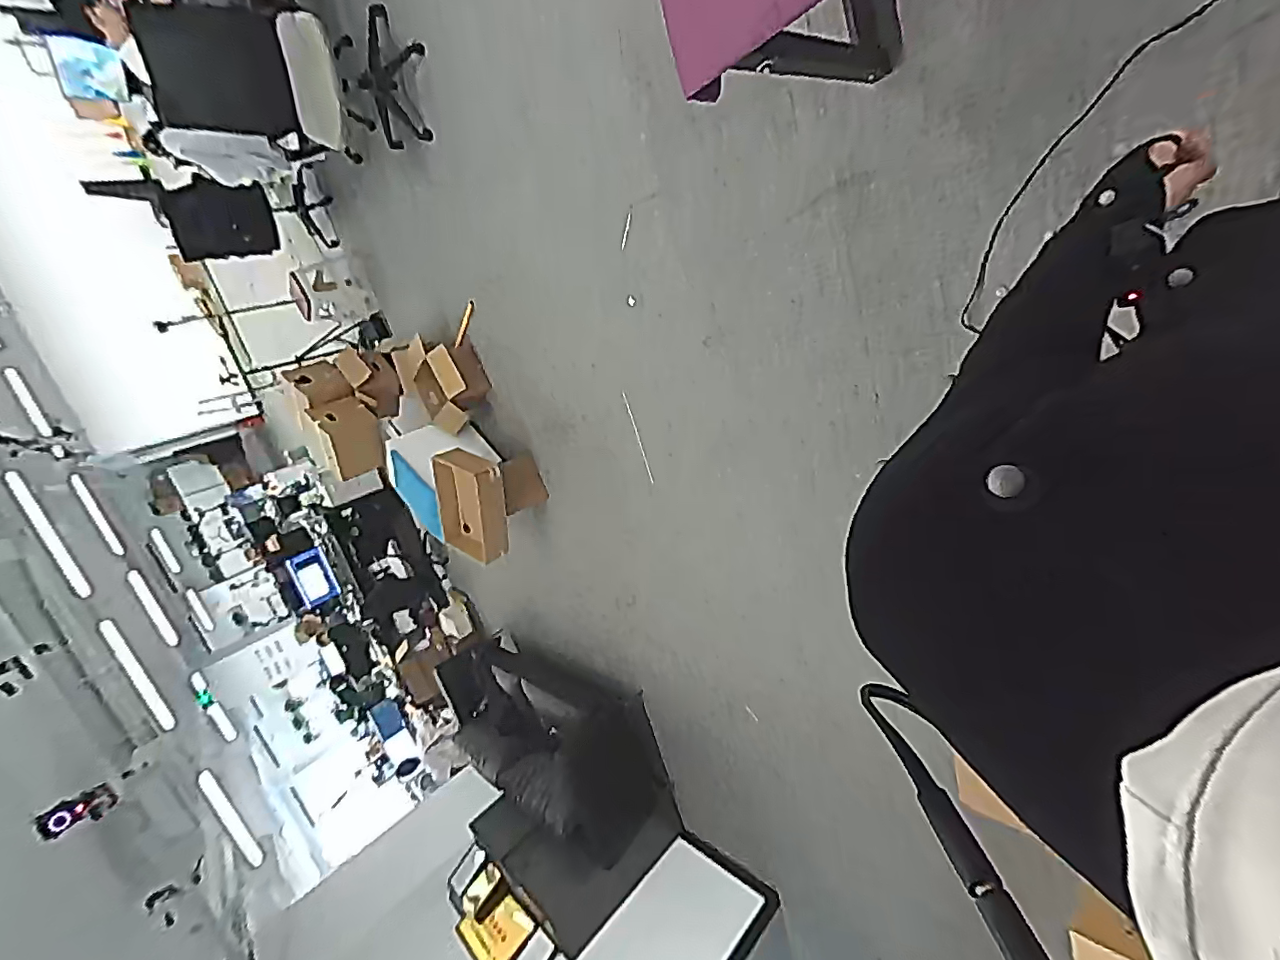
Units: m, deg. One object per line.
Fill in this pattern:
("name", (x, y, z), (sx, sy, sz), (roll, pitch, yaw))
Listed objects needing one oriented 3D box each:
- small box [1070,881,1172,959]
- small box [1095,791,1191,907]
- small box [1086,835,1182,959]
("small box", (1.203, 1.167, 1.351), (0.168, 0.176, 0.179), (-3, 111, 50))
("small box", (1.436, 1.040, 1.540), (0.168, 0.176, 0.179), (-8, 106, 52))
("small box", (1.320, 1.103, 1.443), (0.168, 0.176, 0.179), (-3, 111, 51))
